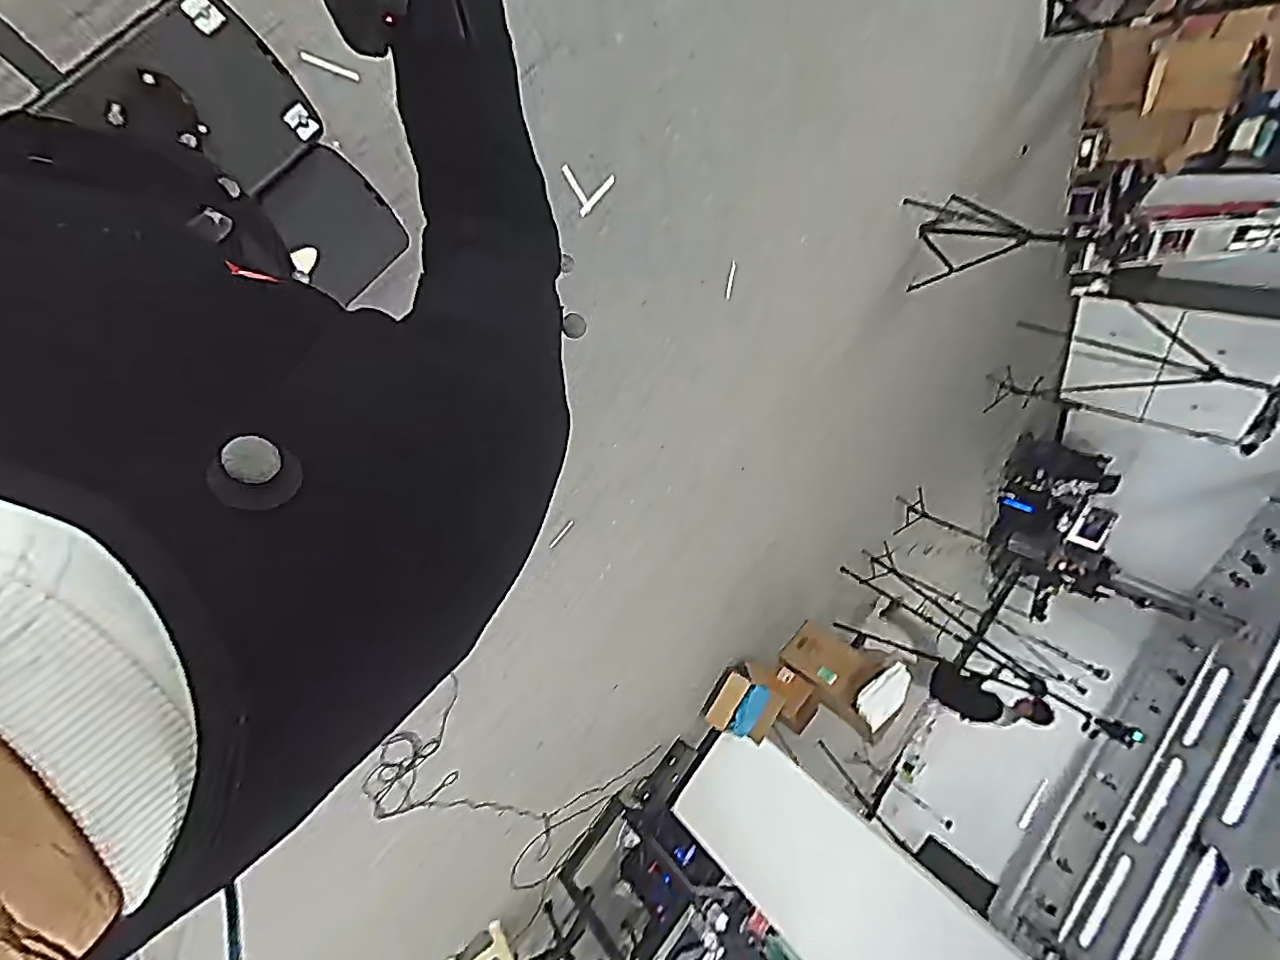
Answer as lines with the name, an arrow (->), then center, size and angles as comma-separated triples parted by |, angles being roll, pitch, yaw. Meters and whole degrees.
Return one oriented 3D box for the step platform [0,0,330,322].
step platform -> -0.950, -0.633, 1.042 | 0.684, 0.204, 0.286 | -52, 138, -11
